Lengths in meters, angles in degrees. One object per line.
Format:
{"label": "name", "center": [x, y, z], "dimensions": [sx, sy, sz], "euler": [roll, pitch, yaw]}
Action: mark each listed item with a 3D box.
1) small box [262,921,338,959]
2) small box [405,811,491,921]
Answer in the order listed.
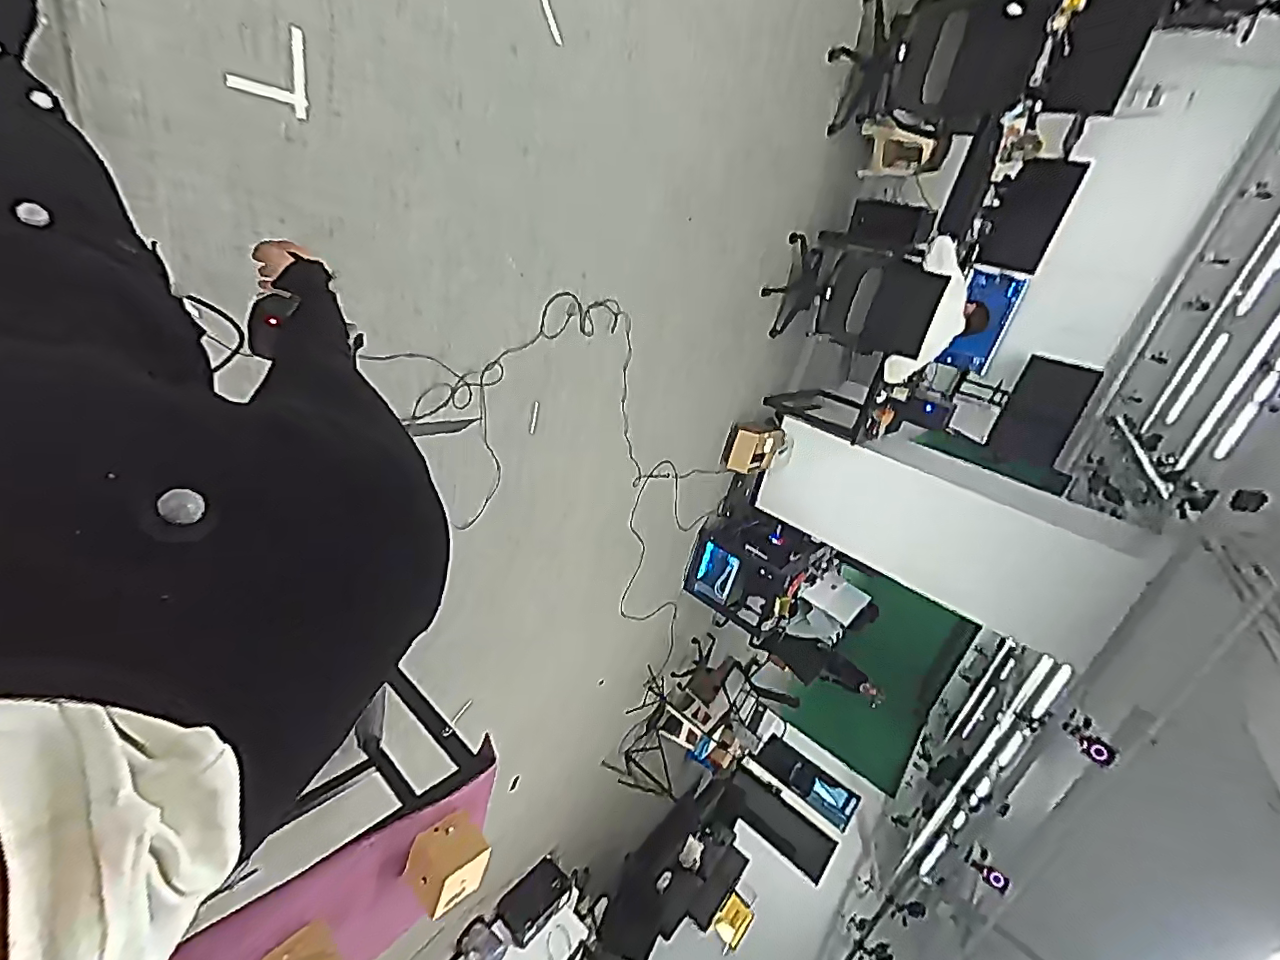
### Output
{"label": "small box", "center": [-0.857, 1.267, 1.341], "dimensions": [0.179, 0.176, 0.168], "euler": [-18, 131, -48]}
{"label": "small box", "center": [-0.588, 1.165, 1.645], "dimensions": [0.168, 0.176, 0.179], "euler": [-2, 116, -55]}
